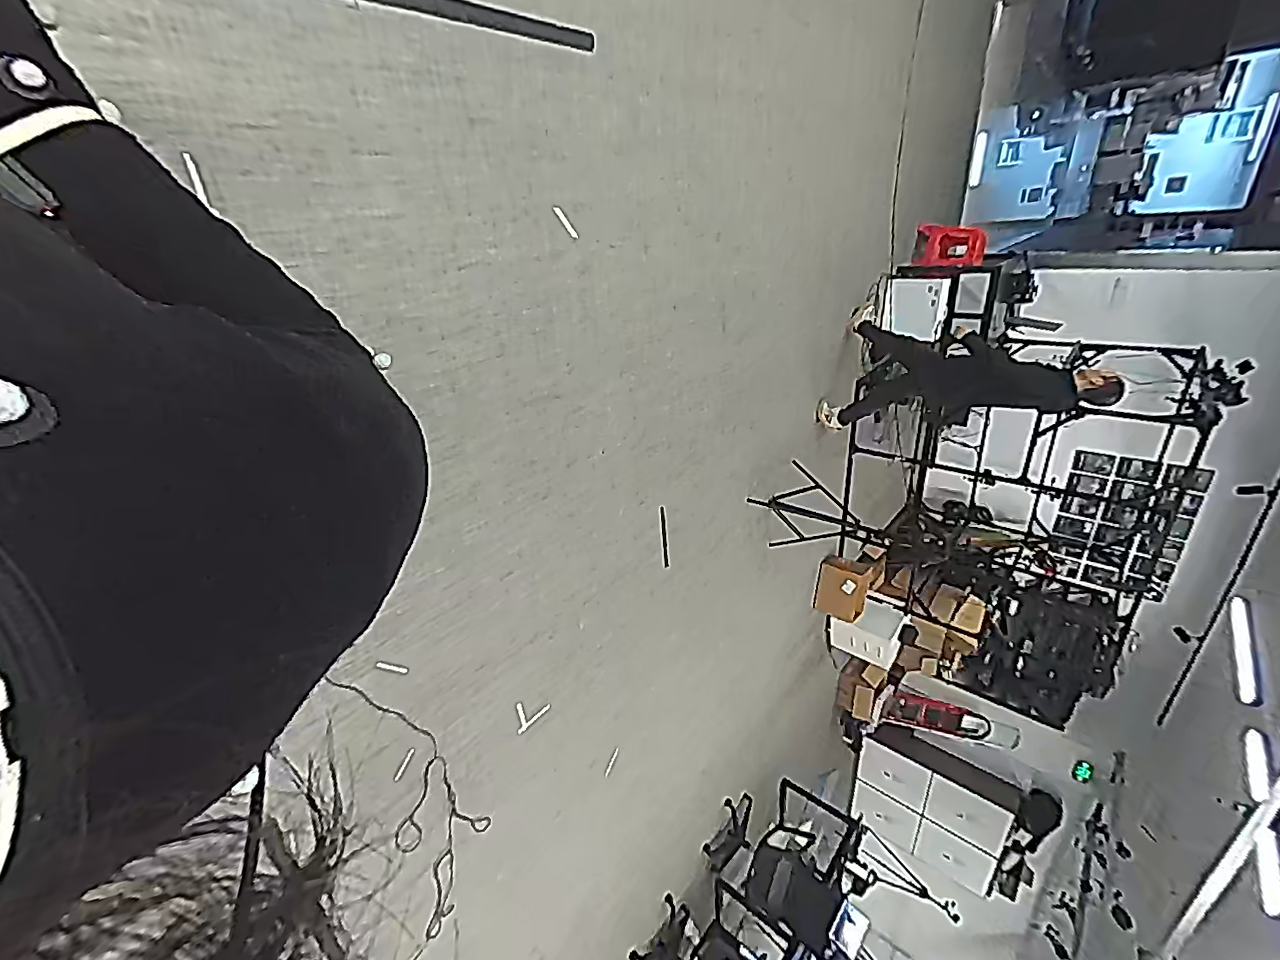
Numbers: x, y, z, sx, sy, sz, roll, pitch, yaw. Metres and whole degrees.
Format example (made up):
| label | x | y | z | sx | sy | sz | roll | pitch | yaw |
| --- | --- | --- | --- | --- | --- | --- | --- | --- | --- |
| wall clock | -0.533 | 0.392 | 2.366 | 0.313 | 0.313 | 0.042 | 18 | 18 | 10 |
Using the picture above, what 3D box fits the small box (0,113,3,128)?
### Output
| label | x | y | z | sx | sy | sz | roll | pitch | yaw |
| --- | --- | --- | --- | --- | --- | --- | --- | --- | --- |
| small box | -0.859 | -0.480 | 0.584 | 0.168 | 0.176 | 0.179 | -32 | 126 | -41 |
